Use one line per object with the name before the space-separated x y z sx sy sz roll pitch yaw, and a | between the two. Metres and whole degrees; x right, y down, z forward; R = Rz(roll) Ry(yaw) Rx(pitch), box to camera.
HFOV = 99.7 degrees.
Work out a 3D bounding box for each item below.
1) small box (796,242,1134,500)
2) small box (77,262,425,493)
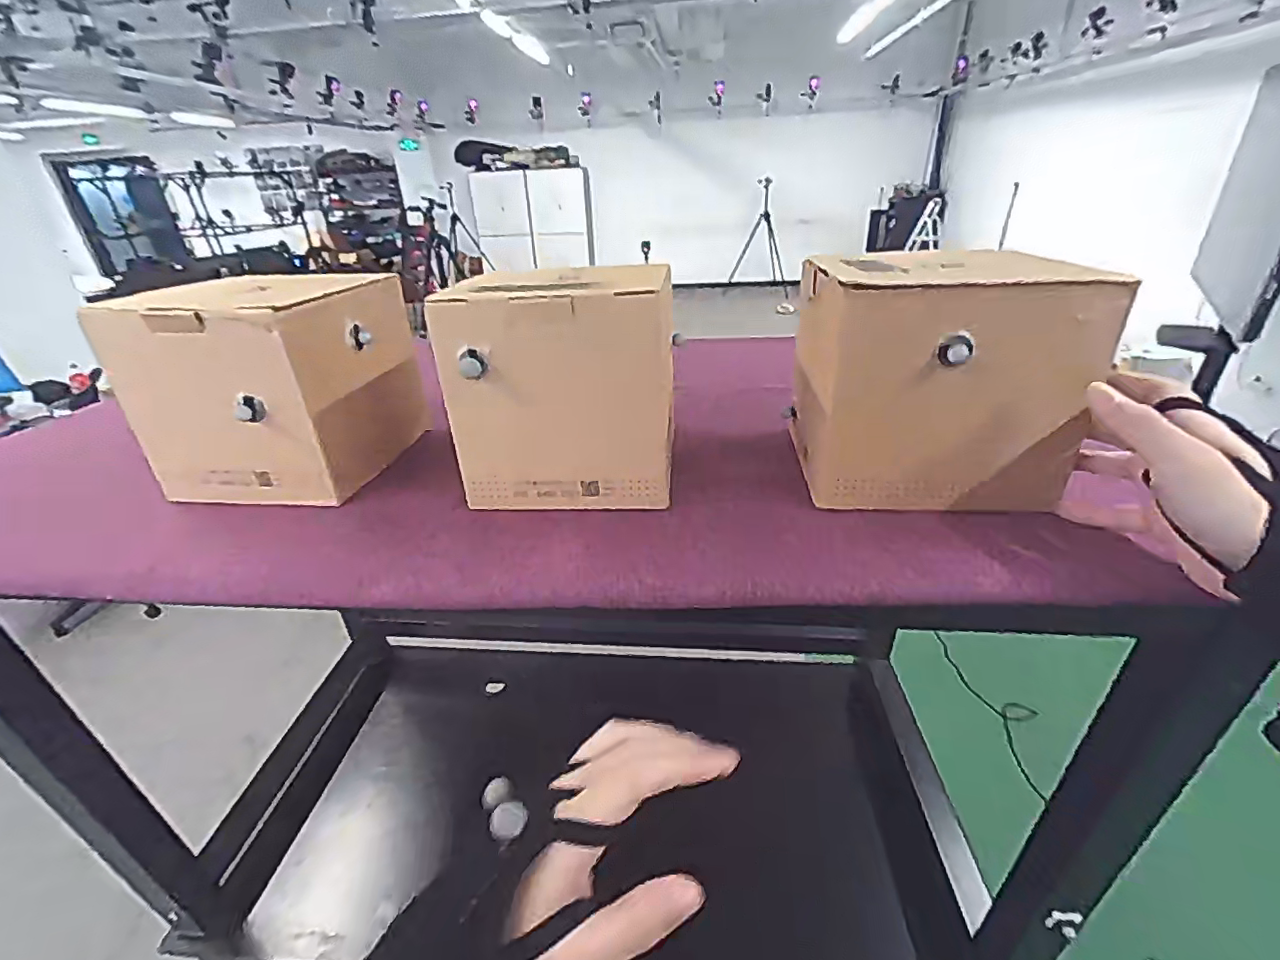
small box | 0.227 -0.093 0.440 0.179 0.176 0.168 0 28 6
small box | -0.322 -0.099 0.498 0.168 0.176 0.179 2 28 7
